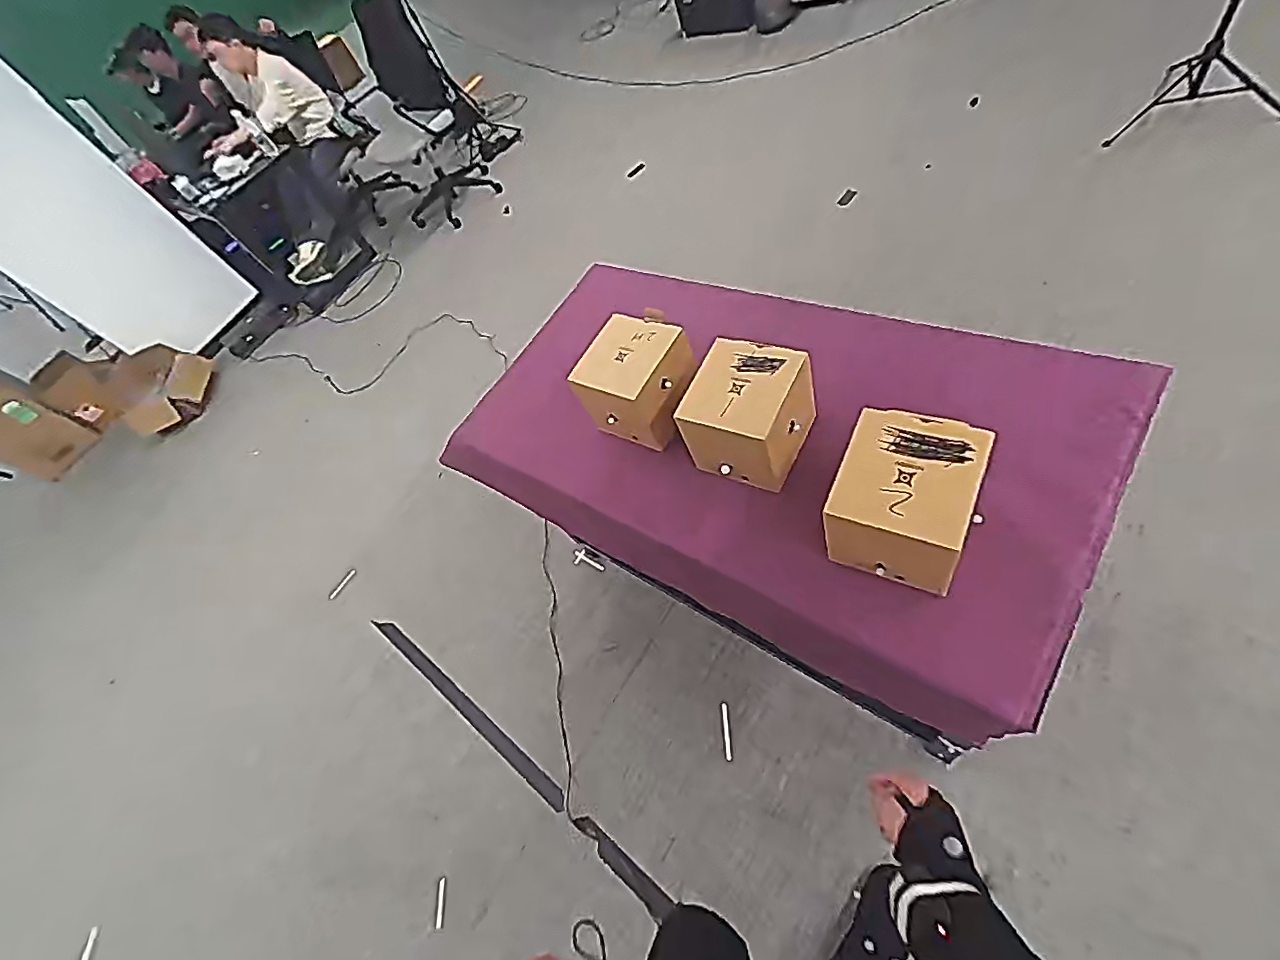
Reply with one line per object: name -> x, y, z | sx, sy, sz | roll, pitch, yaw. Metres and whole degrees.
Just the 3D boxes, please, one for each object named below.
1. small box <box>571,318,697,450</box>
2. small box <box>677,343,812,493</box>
small box -> 0.001, -0.187, 1.071 | 0.168, 0.176, 0.179 | 23, 70, 32
small box -> 0.191, -0.107, 0.944 | 0.168, 0.176, 0.179 | 19, 69, 31
